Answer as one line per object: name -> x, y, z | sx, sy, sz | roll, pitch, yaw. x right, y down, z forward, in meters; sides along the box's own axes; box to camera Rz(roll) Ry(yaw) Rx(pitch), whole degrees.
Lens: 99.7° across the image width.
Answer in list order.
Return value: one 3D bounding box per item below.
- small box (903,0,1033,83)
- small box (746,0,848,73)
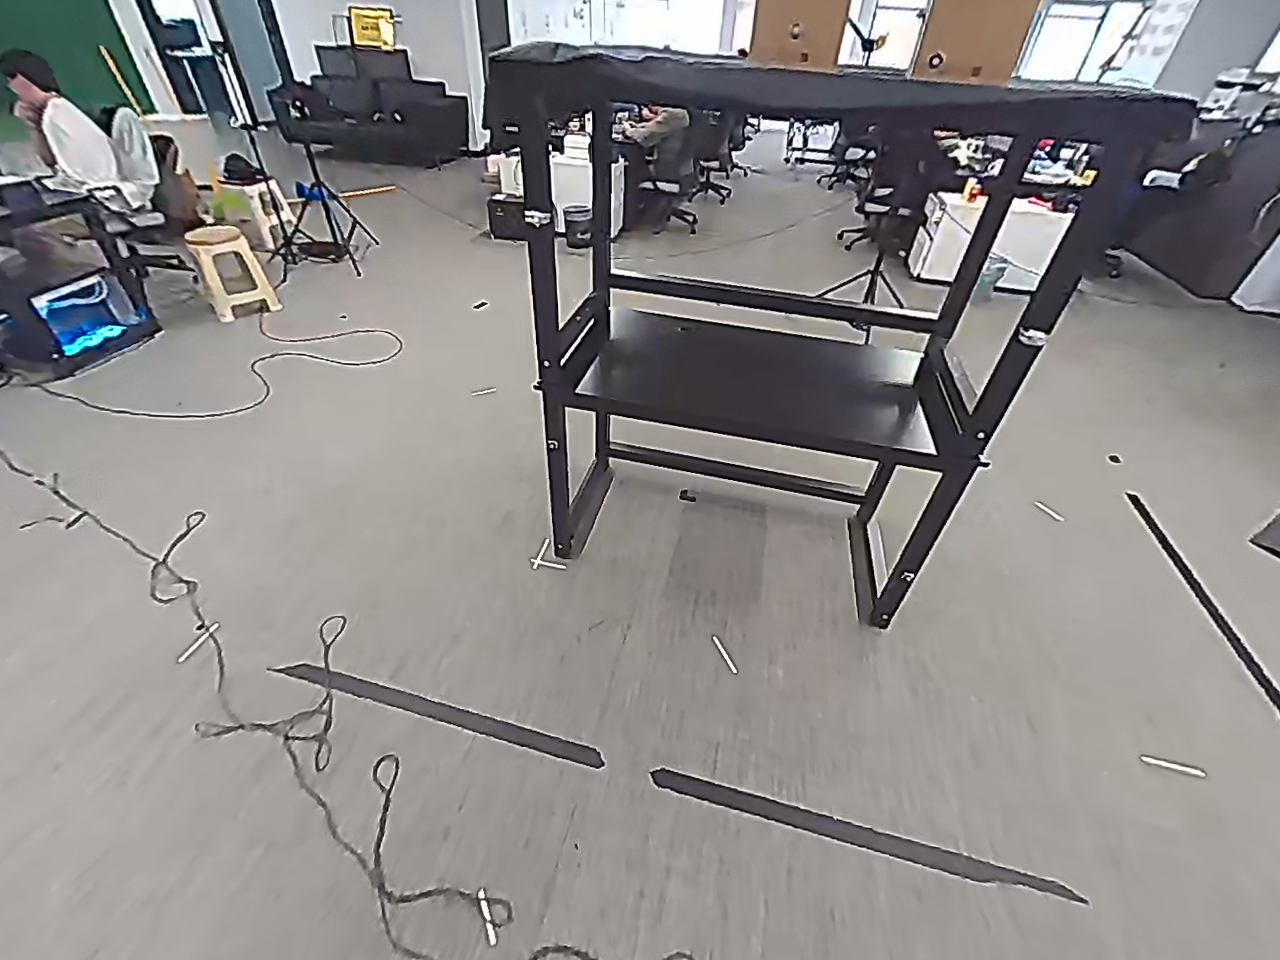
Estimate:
small box -> 0.591, -0.825, 0.975 | 0.168, 0.176, 0.179 | 13, 39, 12
small box -> 0.299, -0.878, 1.015 | 0.168, 0.176, 0.179 | 11, 38, 10
